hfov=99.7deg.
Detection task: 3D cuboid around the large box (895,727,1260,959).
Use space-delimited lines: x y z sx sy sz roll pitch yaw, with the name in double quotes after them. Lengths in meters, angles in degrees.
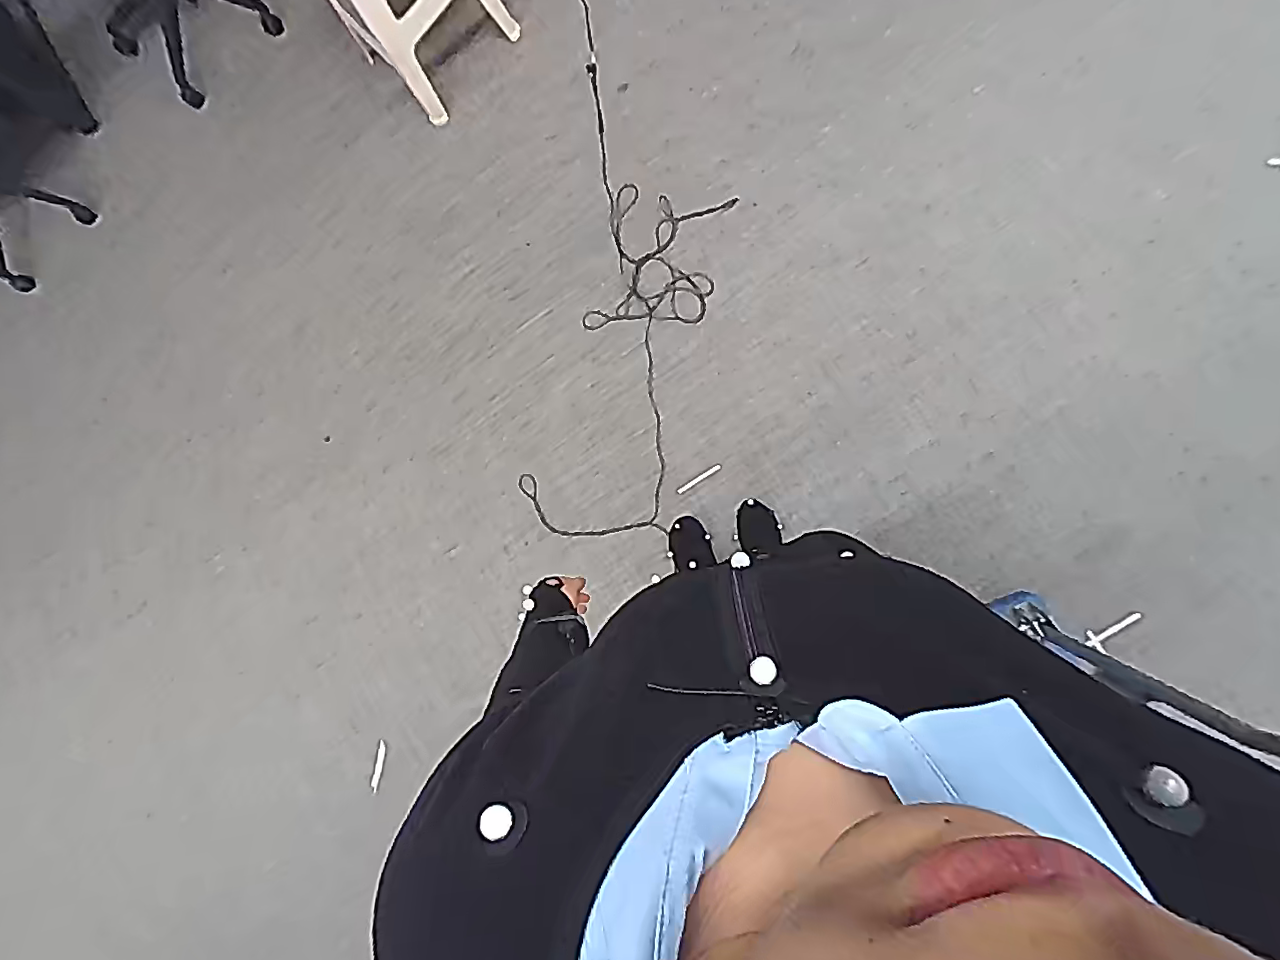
0.802 0.759 1.067 0.408 0.320 0.320 -26 85 7 "large box"
